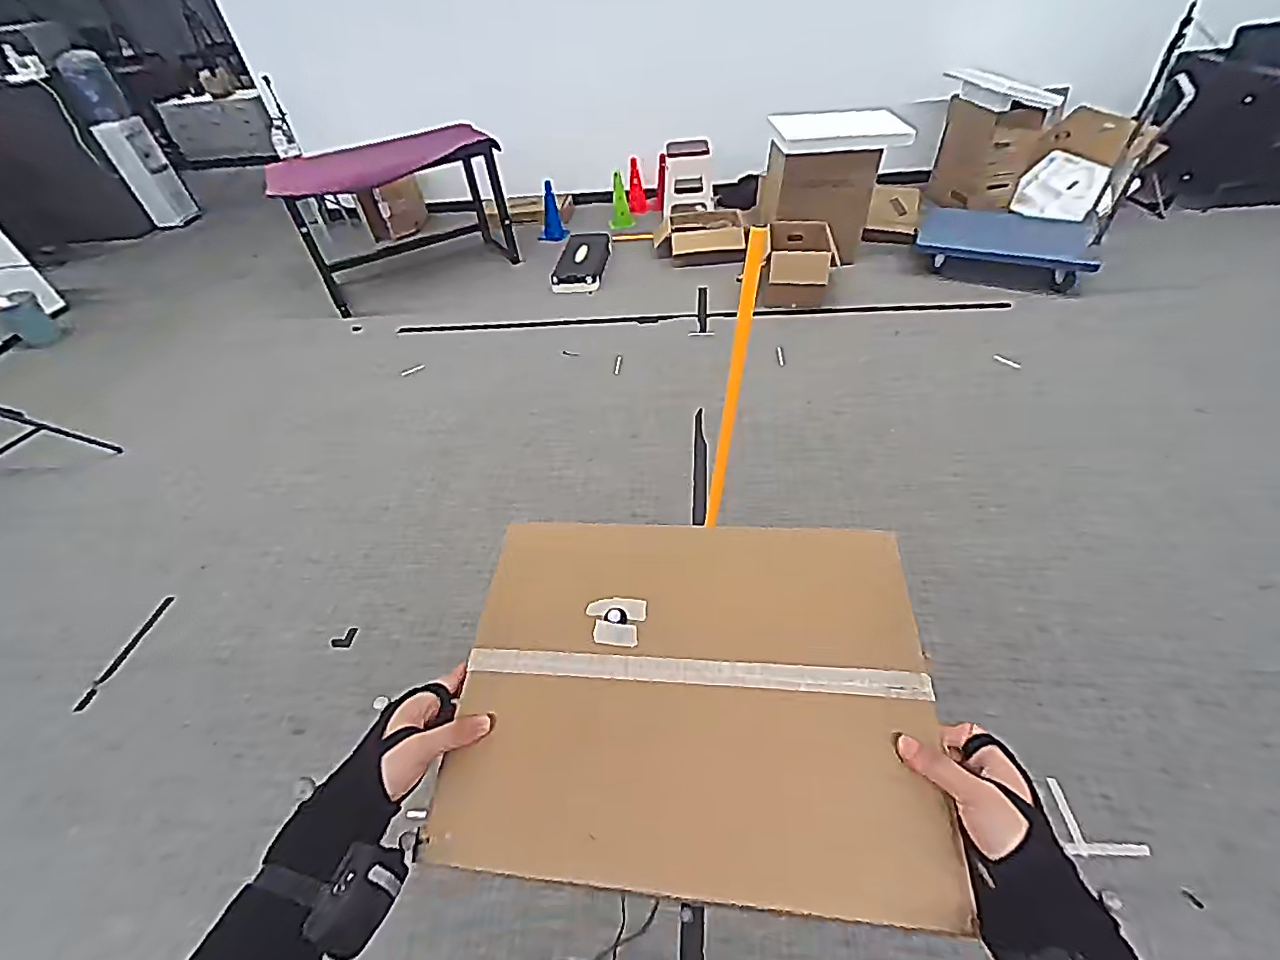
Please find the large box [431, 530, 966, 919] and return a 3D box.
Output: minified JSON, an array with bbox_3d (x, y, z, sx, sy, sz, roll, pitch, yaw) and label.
[{"bbox_3d":[0.063,0.268,0.602,0.408,0.320,0.320,-1,51,10],"label":"large box"}]
